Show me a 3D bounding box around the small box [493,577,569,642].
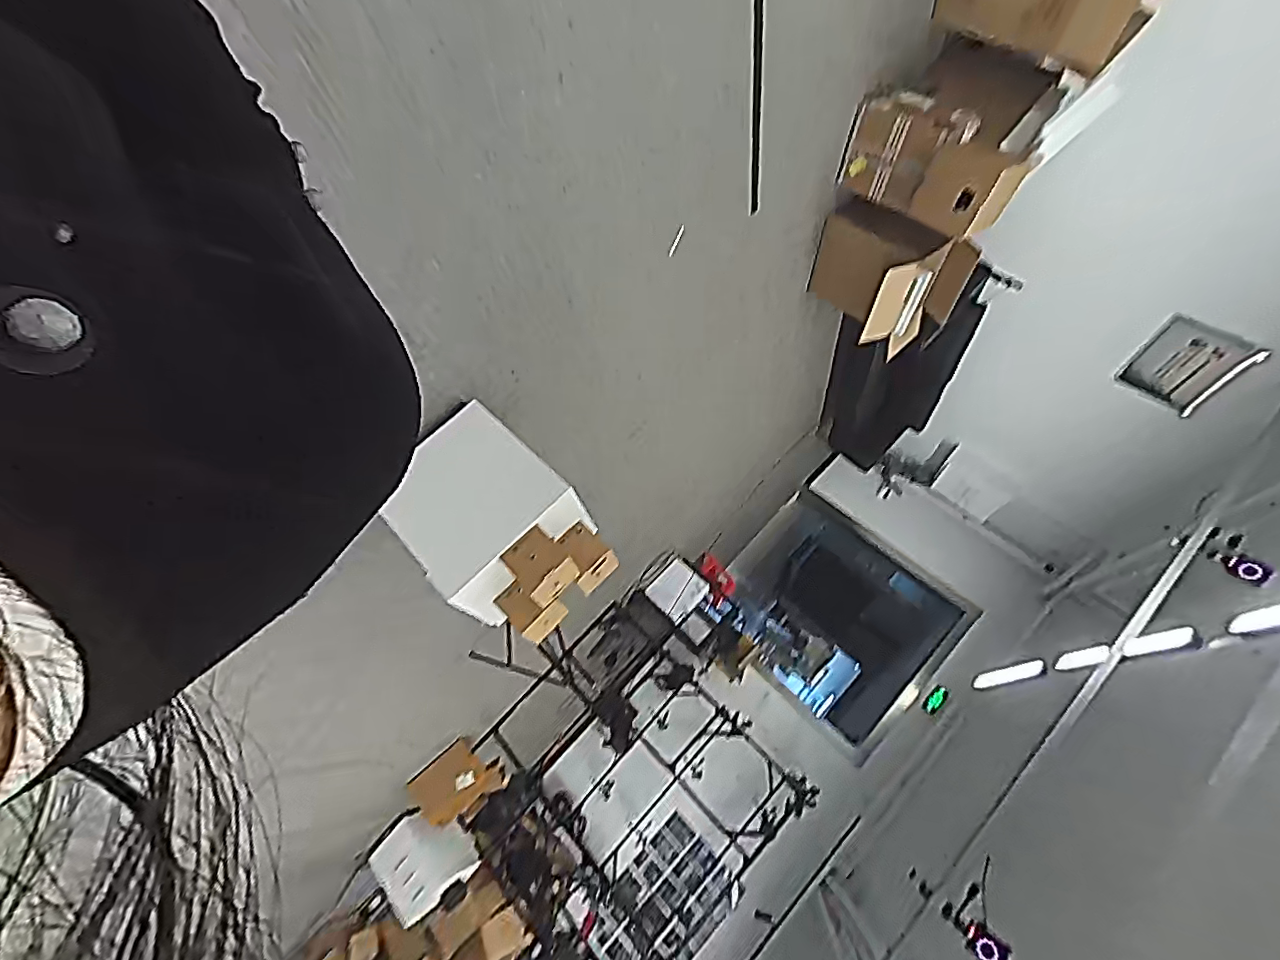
[{"bbox_3d":[-0.386,0.441,1.909,0.168,0.176,0.179,-45,154,-13],"label":"small box"}]

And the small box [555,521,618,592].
[{"bbox_3d":[-0.208,0.274,1.967,0.168,0.176,0.179,-43,155,-14],"label":"small box"}]

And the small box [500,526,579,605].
[{"bbox_3d":[-0.328,0.273,1.764,0.168,0.176,0.179,-43,155,-15],"label":"small box"}]
